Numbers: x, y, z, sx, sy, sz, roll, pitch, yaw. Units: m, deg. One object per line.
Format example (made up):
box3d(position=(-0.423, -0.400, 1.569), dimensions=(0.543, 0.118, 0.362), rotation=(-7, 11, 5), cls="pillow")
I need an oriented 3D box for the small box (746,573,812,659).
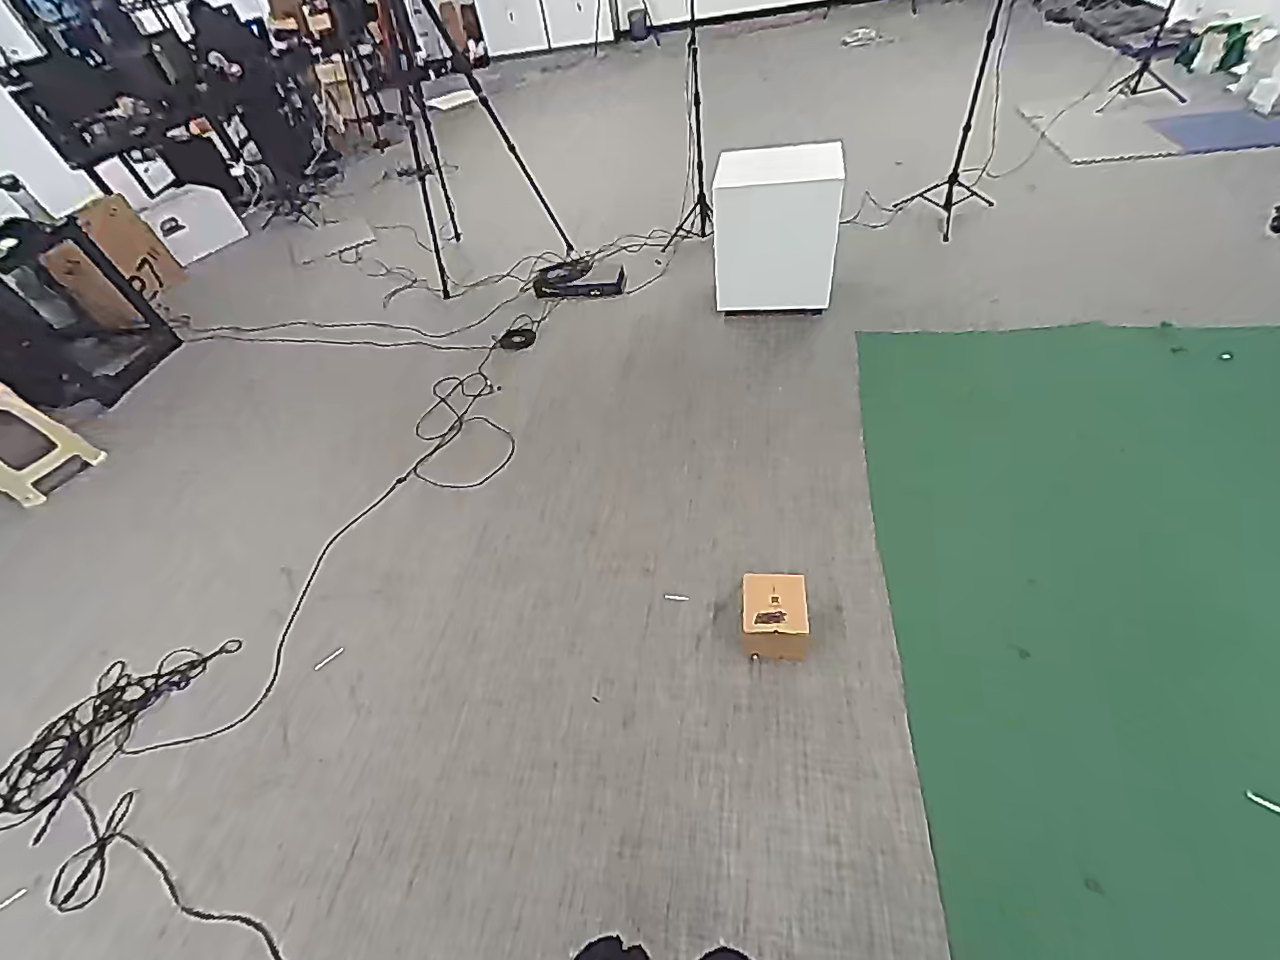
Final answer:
box3d(position=(0.376, 0.374, 1.478), dimensions=(0.168, 0.176, 0.179), rotation=(0, 48, 11), cls="small box")
